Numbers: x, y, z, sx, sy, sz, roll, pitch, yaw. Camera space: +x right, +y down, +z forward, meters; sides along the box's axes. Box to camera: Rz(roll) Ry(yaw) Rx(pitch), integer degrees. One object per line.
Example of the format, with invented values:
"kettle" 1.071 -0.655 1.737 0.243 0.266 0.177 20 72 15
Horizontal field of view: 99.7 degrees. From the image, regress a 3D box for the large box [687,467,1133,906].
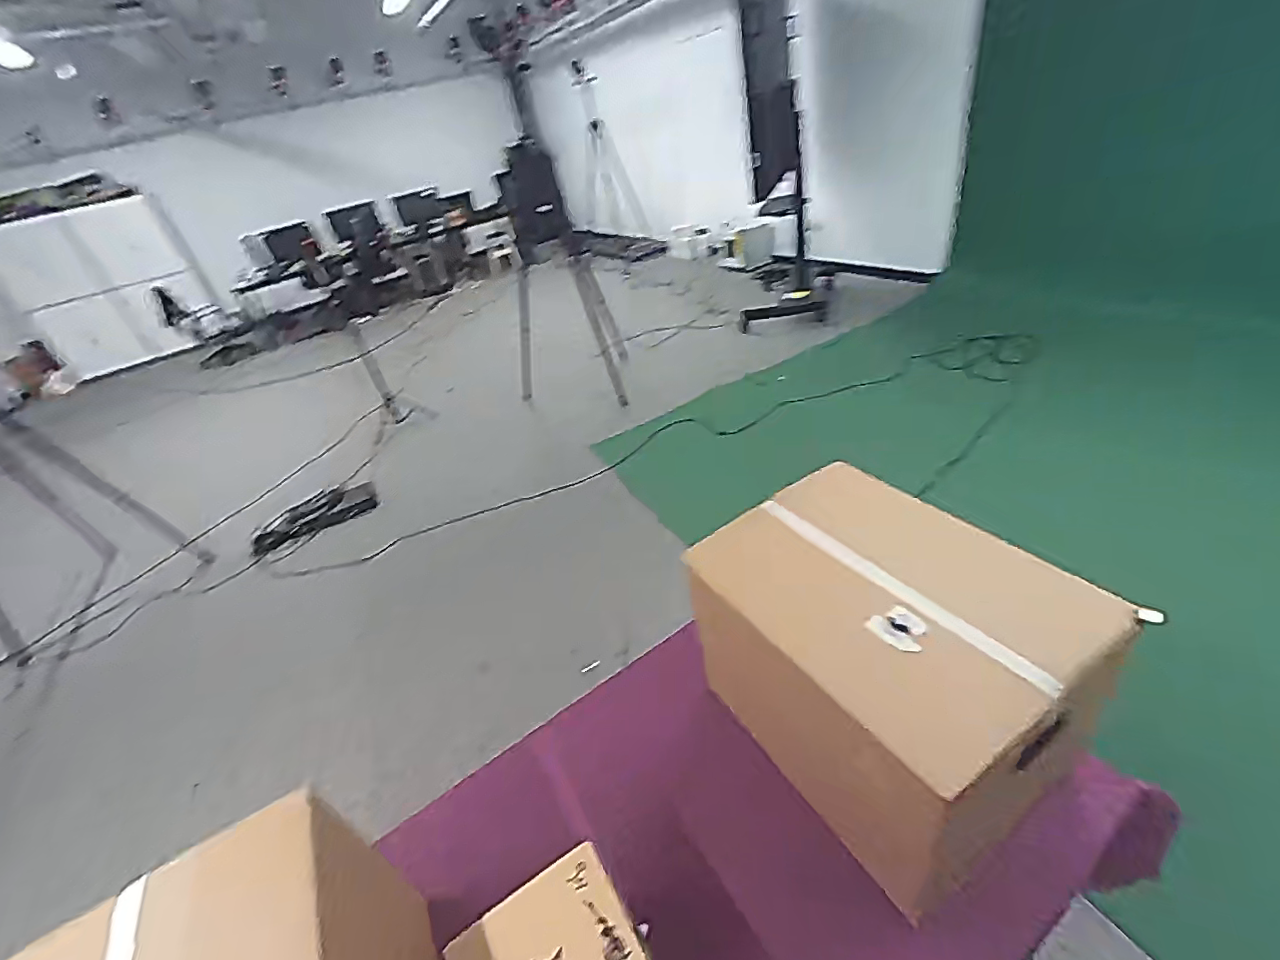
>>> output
"large box" 0.316 0.241 0.748 0.320 0.320 0.408 -27 37 -19
